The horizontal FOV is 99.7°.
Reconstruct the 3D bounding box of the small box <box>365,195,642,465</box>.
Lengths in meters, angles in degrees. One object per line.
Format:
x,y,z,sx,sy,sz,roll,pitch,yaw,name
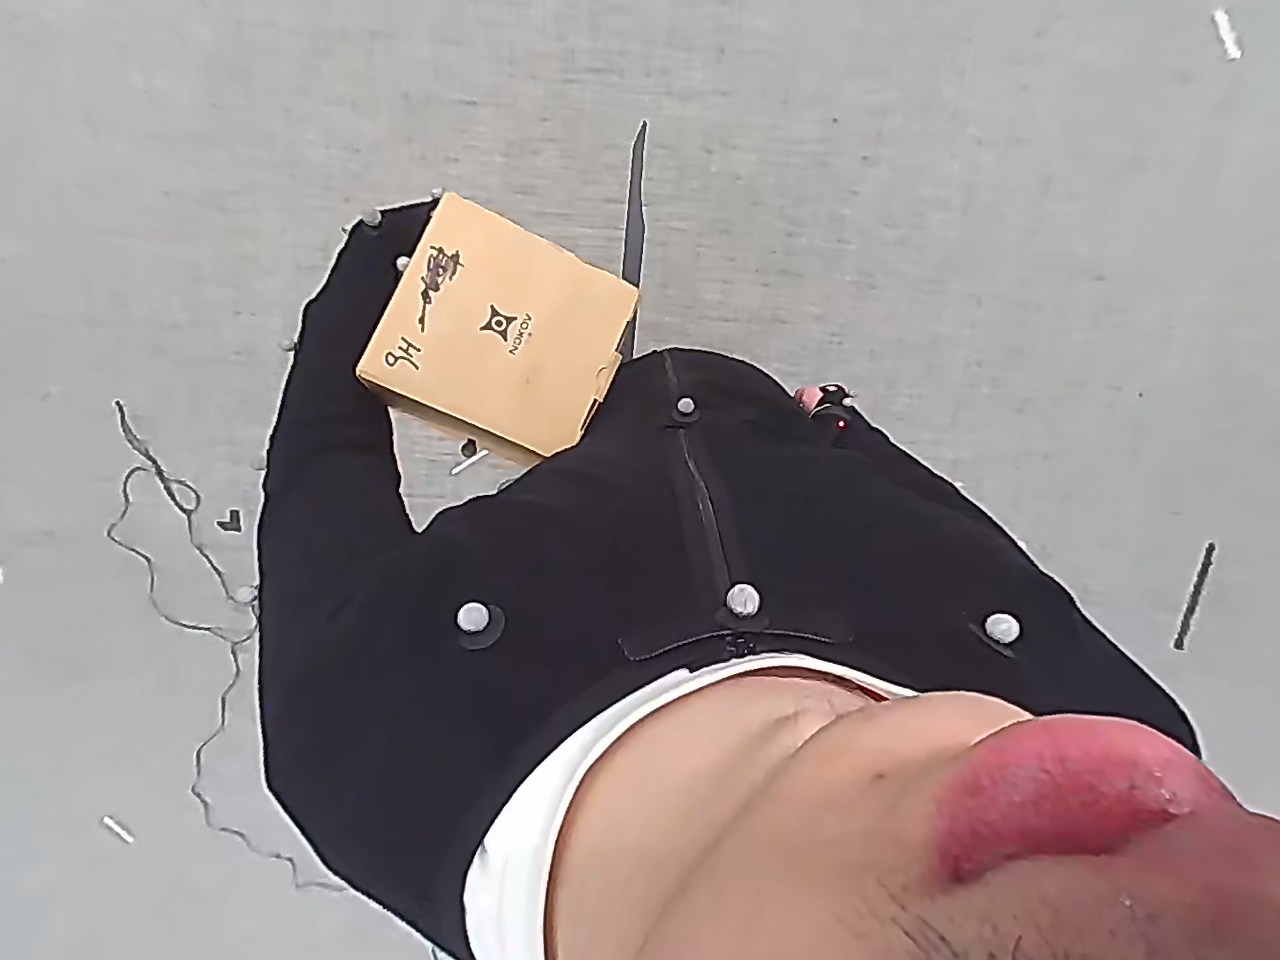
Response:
-0.125,-0.120,0.517,0.179,0.176,0.168,23,81,-14,small box
